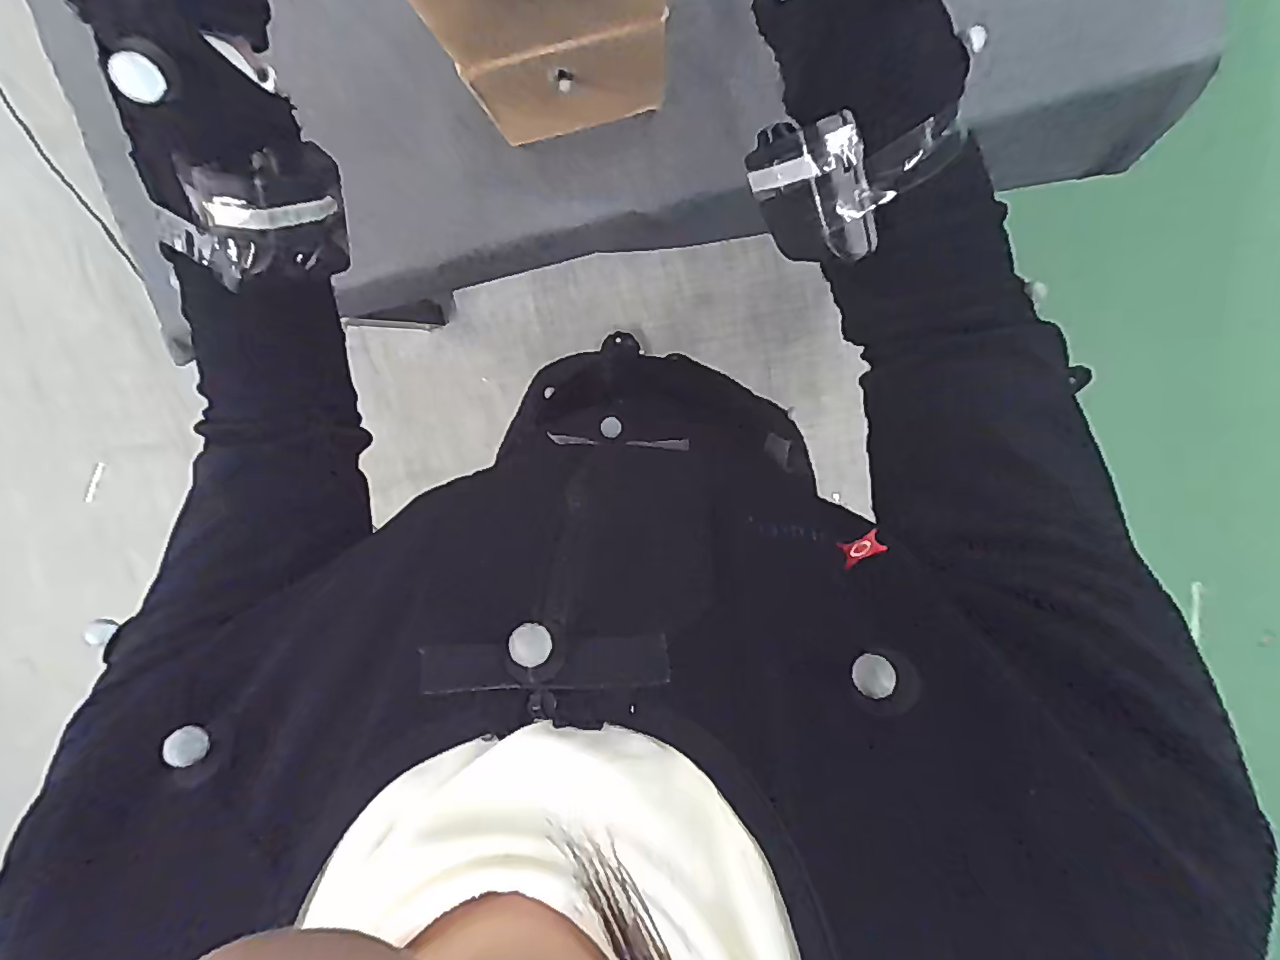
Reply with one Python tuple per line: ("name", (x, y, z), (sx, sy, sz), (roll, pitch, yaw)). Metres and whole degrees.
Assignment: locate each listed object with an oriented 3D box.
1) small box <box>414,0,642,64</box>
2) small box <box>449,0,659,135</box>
("small box", (-0.085, -0.411, 0.340), (0.179, 0.176, 0.168), (-13, 104, 5))
("small box", (-0.081, -0.451, 0.500), (0.179, 0.176, 0.168), (-11, 104, 5))
